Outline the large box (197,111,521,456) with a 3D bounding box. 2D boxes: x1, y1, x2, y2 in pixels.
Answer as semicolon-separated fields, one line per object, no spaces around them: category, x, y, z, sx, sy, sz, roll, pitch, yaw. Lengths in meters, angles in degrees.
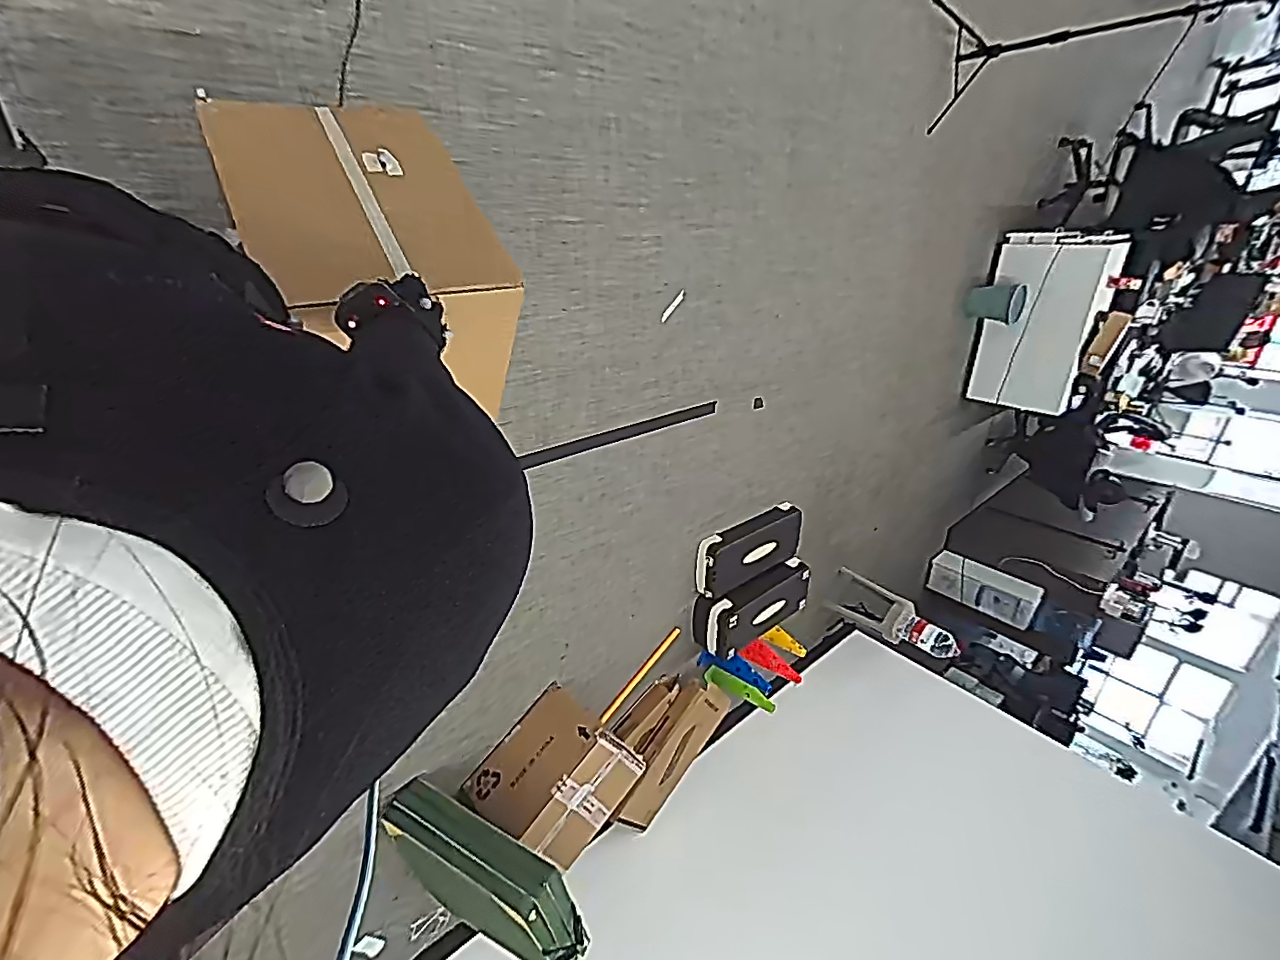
large box;-0.438;-0.310;0.874;0.320;0.408;0.320;-18;156;-34
